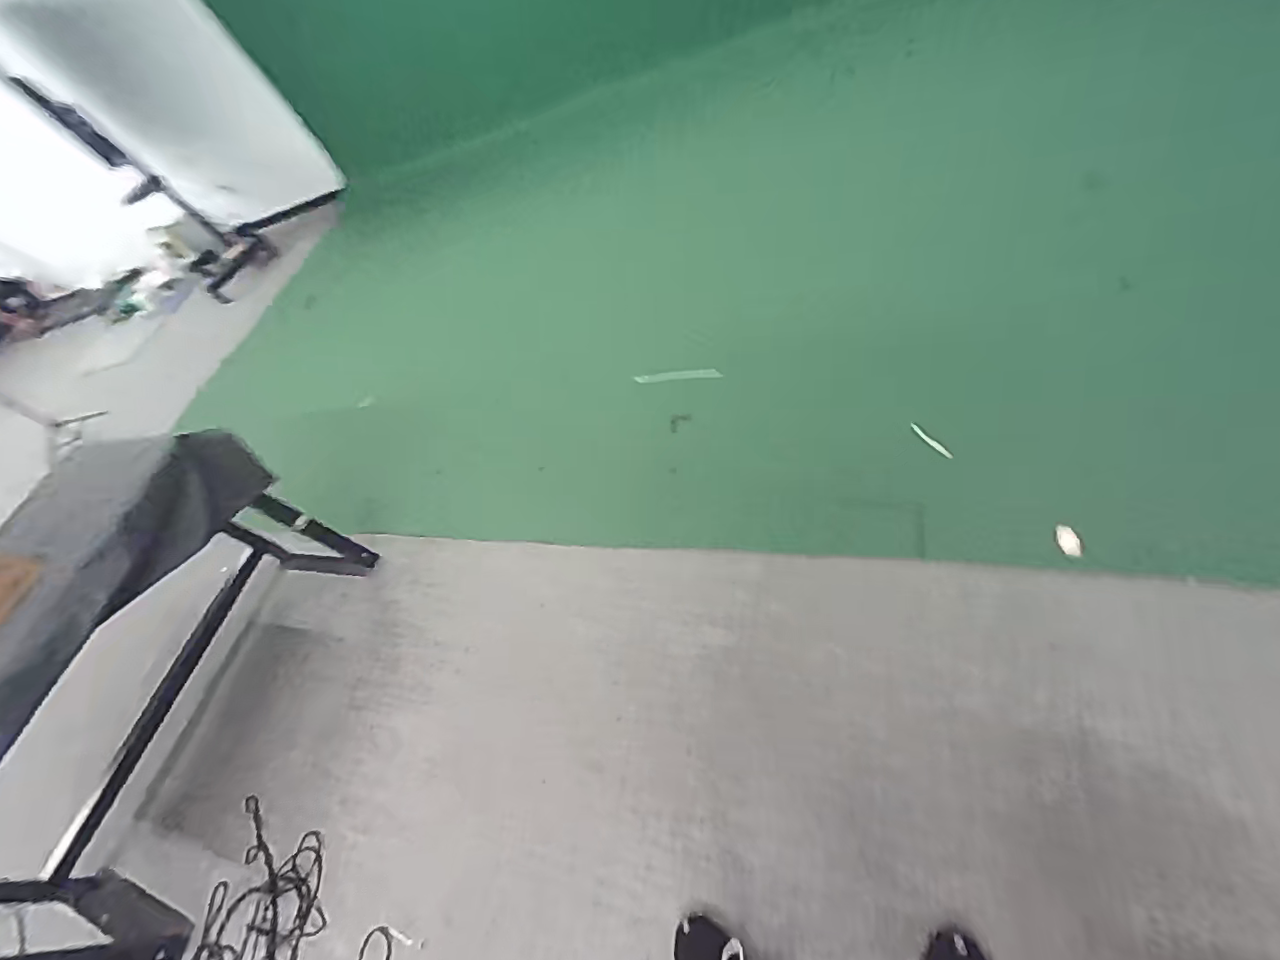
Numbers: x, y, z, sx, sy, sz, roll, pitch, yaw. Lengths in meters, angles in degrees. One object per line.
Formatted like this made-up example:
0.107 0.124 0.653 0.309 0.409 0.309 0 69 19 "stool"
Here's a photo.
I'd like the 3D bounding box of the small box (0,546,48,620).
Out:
-1.543 0.227 1.247 0.179 0.176 0.168 1 57 29 "small box"
